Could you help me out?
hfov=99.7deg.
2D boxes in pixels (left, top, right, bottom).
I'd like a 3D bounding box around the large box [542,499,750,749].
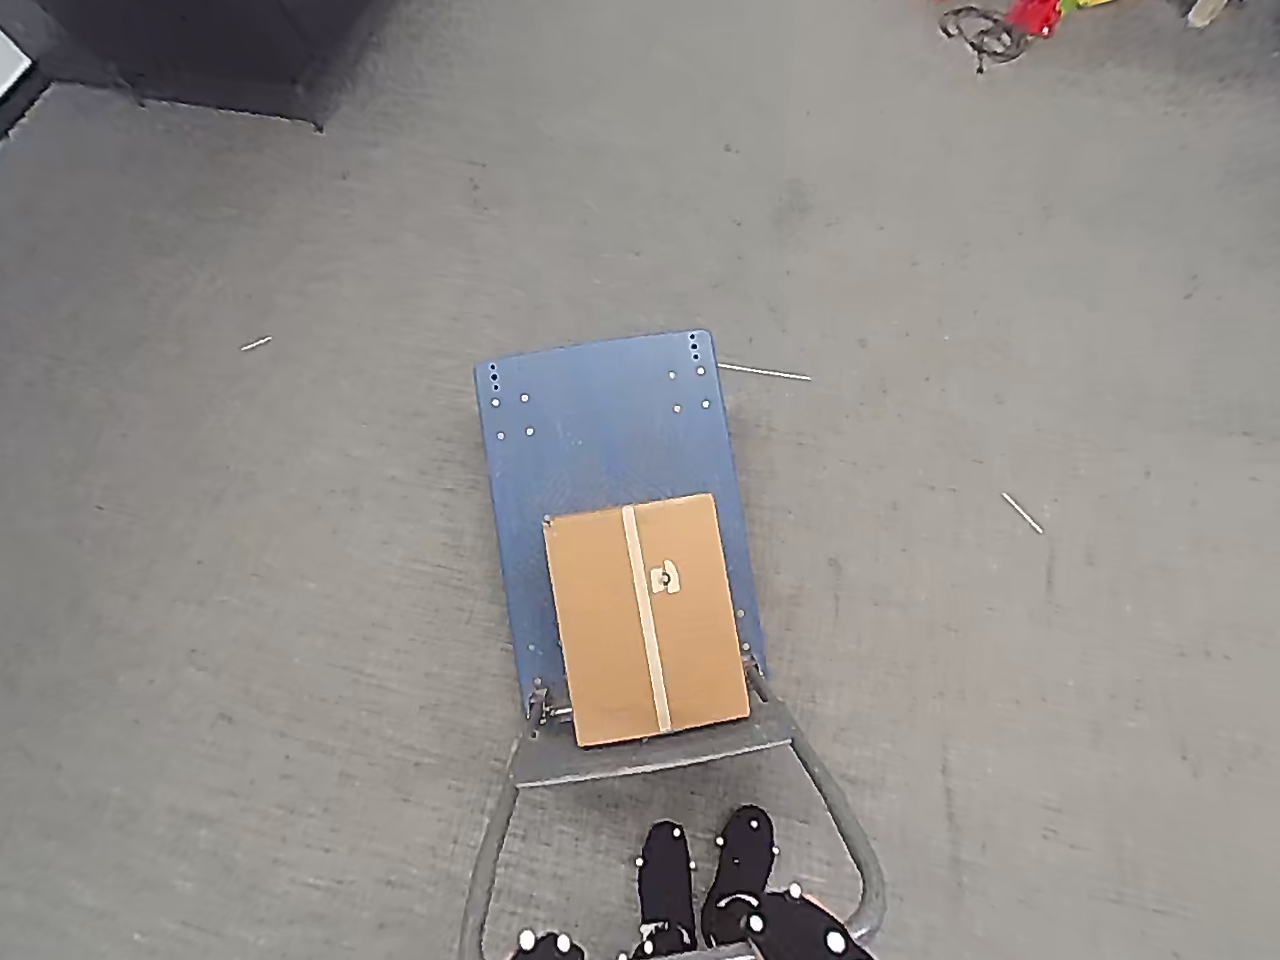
[{"bbox_3d":[0.008,0.266,1.120,0.320,0.320,0.408,-10,87,-3],"label":"large box"}]
